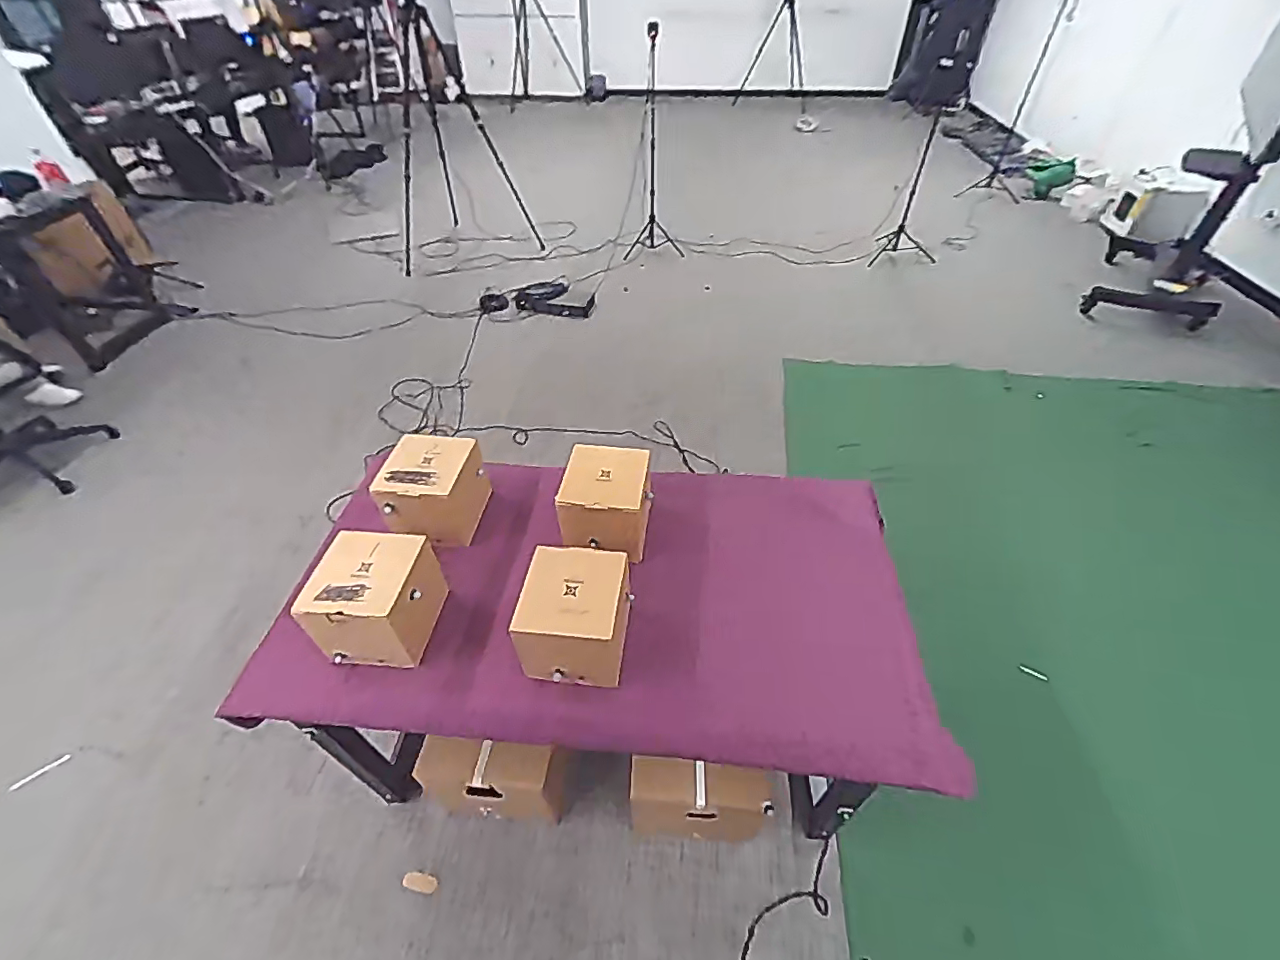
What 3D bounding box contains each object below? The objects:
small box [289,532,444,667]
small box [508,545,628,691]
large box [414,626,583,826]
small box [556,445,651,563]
[{"bbox_3d":[-0.475,0.216,0.974,0.168,0.176,0.179,3,43,4],"label":"small box"},{"bbox_3d":[-0.114,0.240,0.945,0.168,0.176,0.179,4,44,7],"label":"small box"},{"bbox_3d":[-0.348,0.661,1.465,0.320,0.320,0.408,4,44,4],"label":"large box"},{"bbox_3d":[-0.070,0.050,1.139,0.168,0.176,0.179,5,46,6],"label":"small box"}]
